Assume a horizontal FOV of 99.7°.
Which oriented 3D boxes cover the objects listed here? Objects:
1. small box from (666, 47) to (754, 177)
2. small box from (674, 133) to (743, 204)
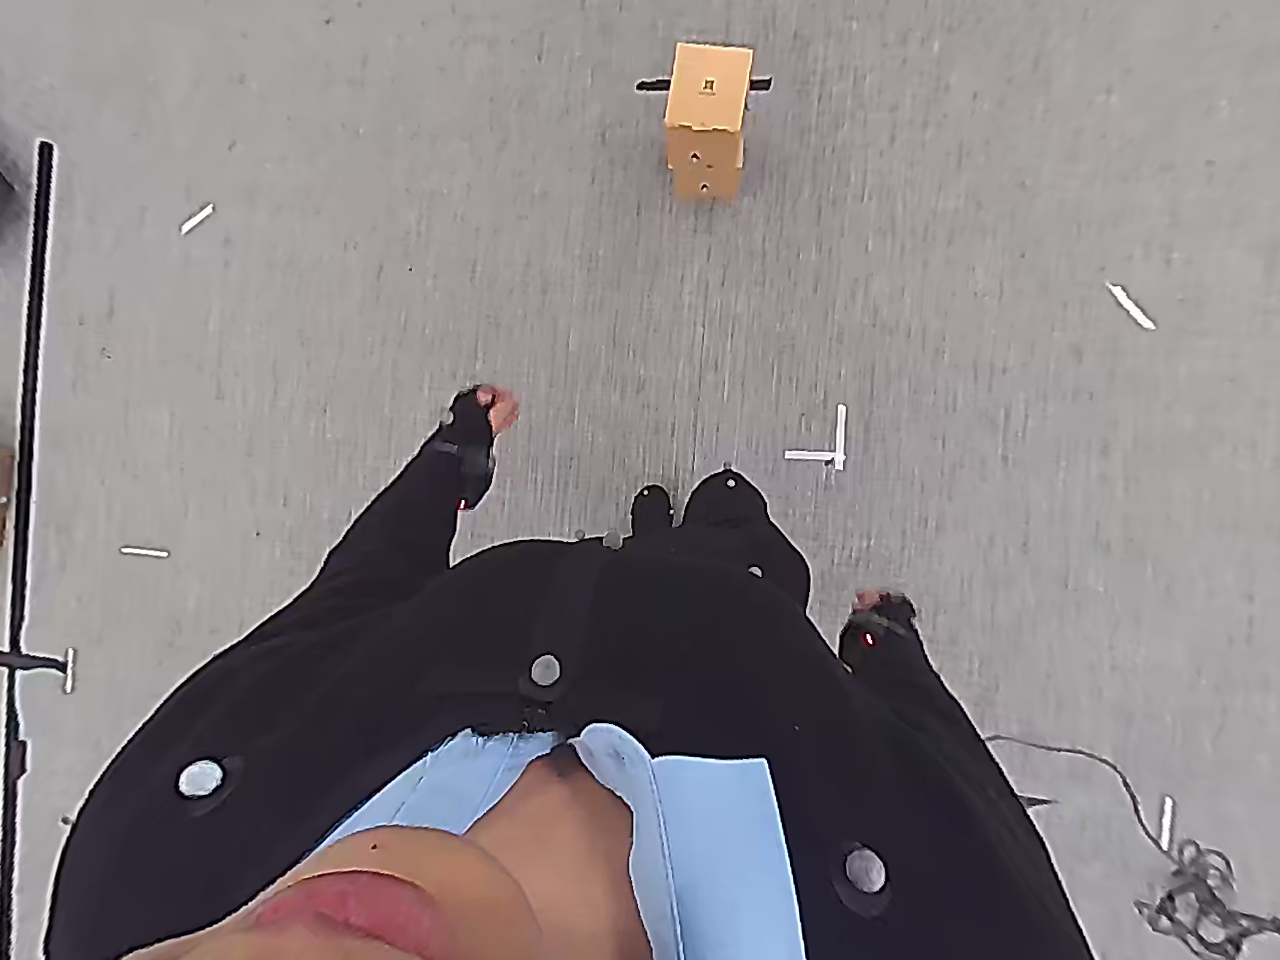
[{"bbox_3d":[0.154,-0.830,1.232,0.168,0.176,0.179,9,92,5],"label":"small box"},{"bbox_3d":[0.176,-0.835,1.393,0.168,0.176,0.179,3,90,5],"label":"small box"}]
